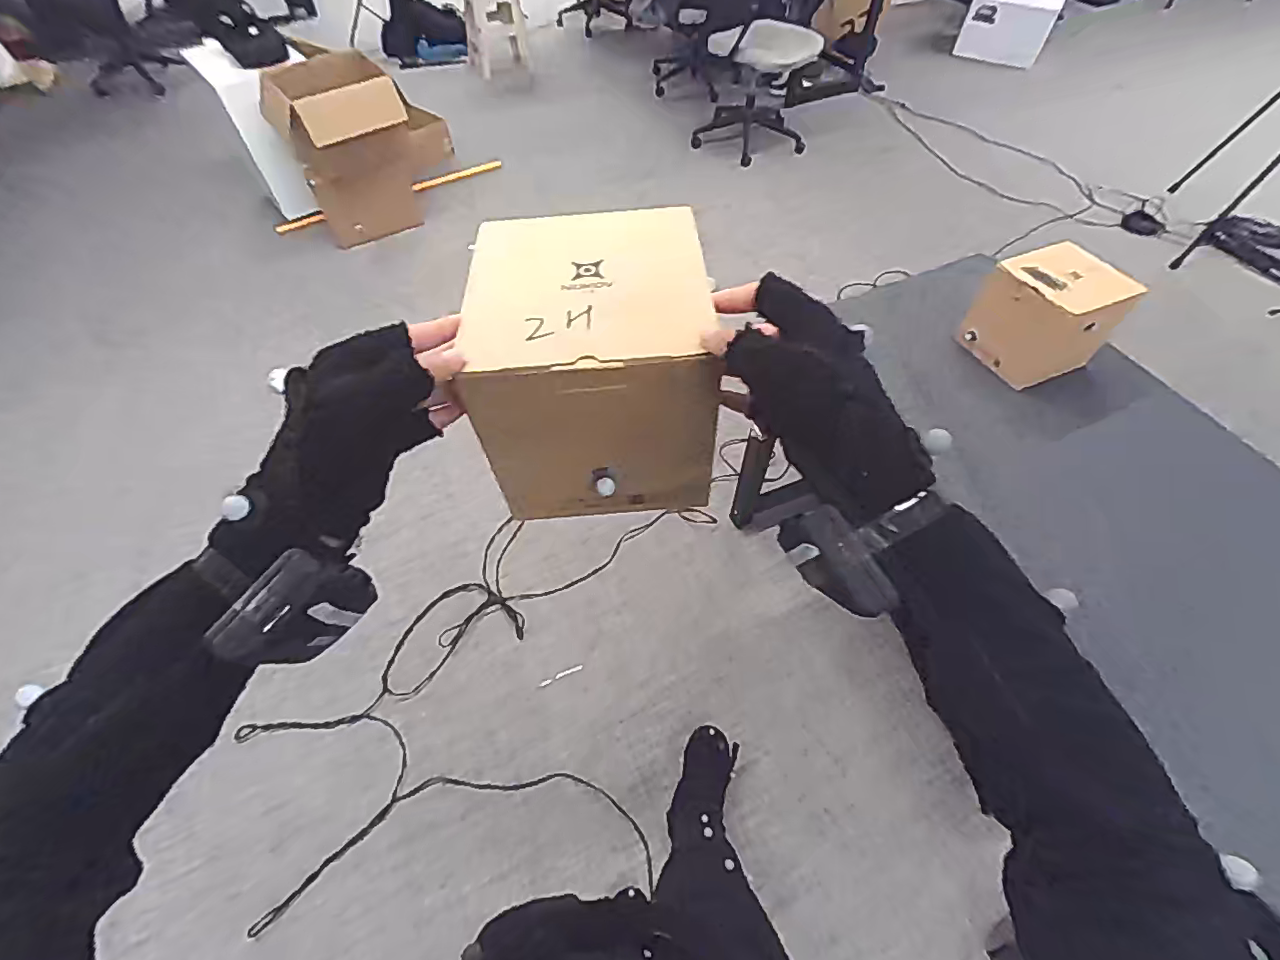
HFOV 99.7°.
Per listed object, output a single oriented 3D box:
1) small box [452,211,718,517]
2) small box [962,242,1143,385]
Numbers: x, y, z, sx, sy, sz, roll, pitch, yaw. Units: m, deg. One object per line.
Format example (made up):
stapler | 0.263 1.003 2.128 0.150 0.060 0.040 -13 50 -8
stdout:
small box | -0.035 -0.090 0.441 0.168 0.176 0.179 -5 55 0
small box | 0.730 -0.299 0.988 0.179 0.176 0.168 -20 57 -14
